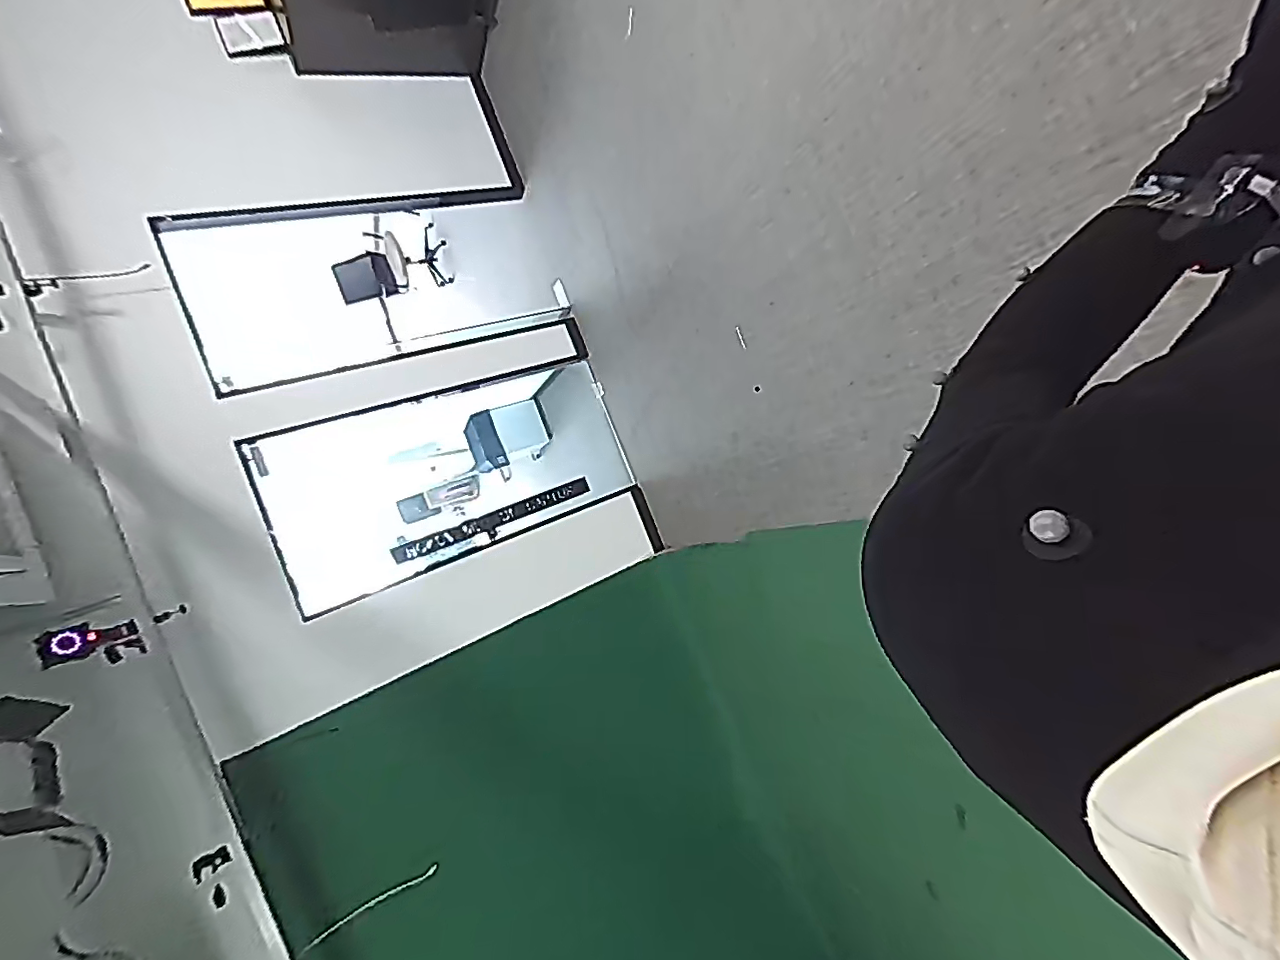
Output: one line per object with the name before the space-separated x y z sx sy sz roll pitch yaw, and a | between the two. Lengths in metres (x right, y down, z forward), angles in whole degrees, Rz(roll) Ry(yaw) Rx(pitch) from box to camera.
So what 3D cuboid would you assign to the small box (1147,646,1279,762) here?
small box | 1.380 0.529 1.298 0.168 0.176 0.179 -15 96 63
